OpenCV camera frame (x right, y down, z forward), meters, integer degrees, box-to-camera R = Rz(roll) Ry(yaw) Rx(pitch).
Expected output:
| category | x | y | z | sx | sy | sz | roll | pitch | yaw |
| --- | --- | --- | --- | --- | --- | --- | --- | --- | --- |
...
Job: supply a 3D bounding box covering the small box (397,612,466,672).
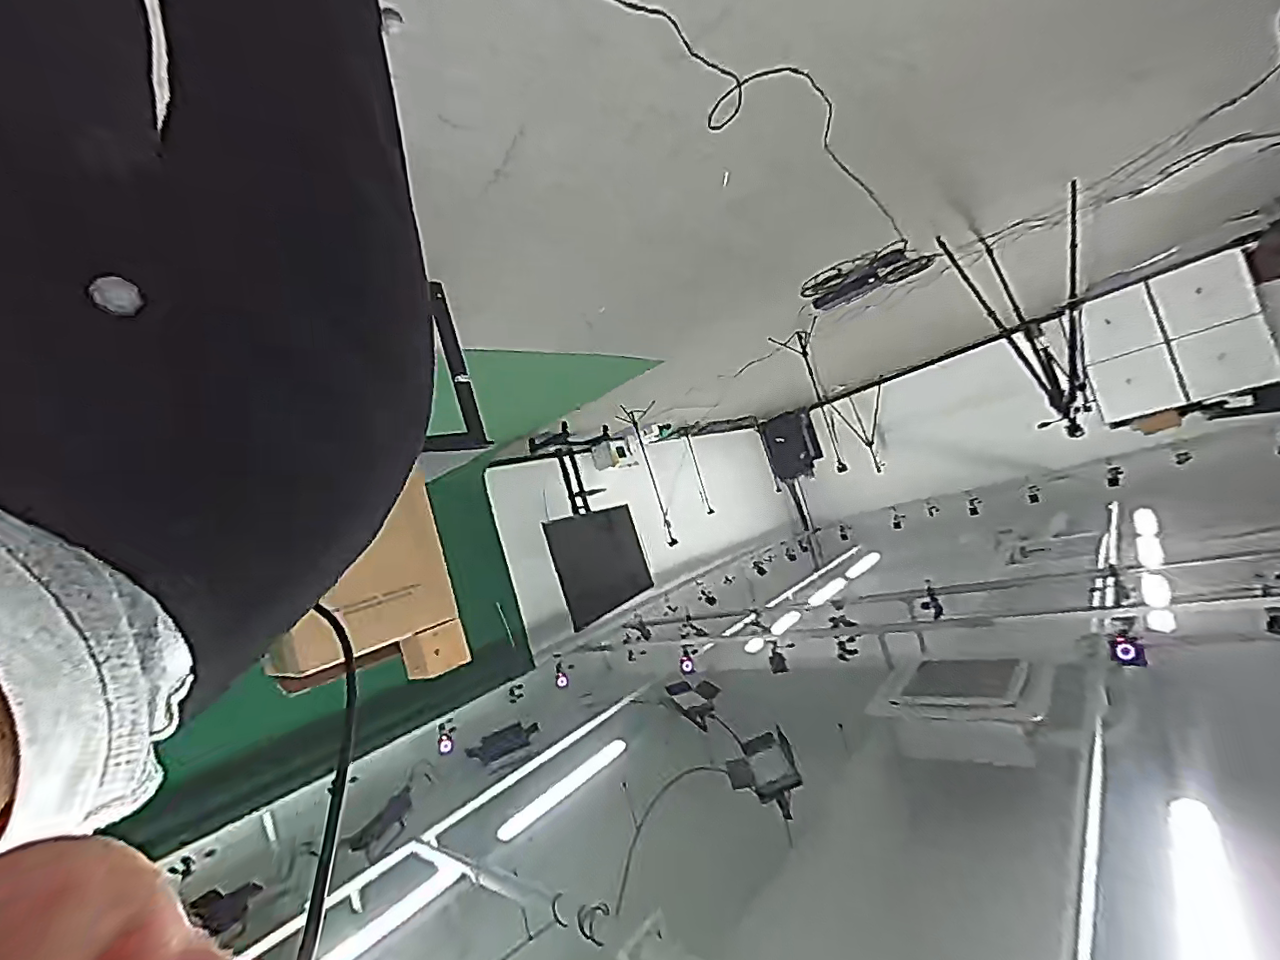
| category | x | y | z | sx | sy | sz | roll | pitch | yaw |
| --- | --- | --- | --- | --- | --- | --- | --- | --- | --- |
| small box | -0.782 | 0.601 | 2.017 | 0.179 | 0.176 | 0.168 | -17 | 177 | 41 |
